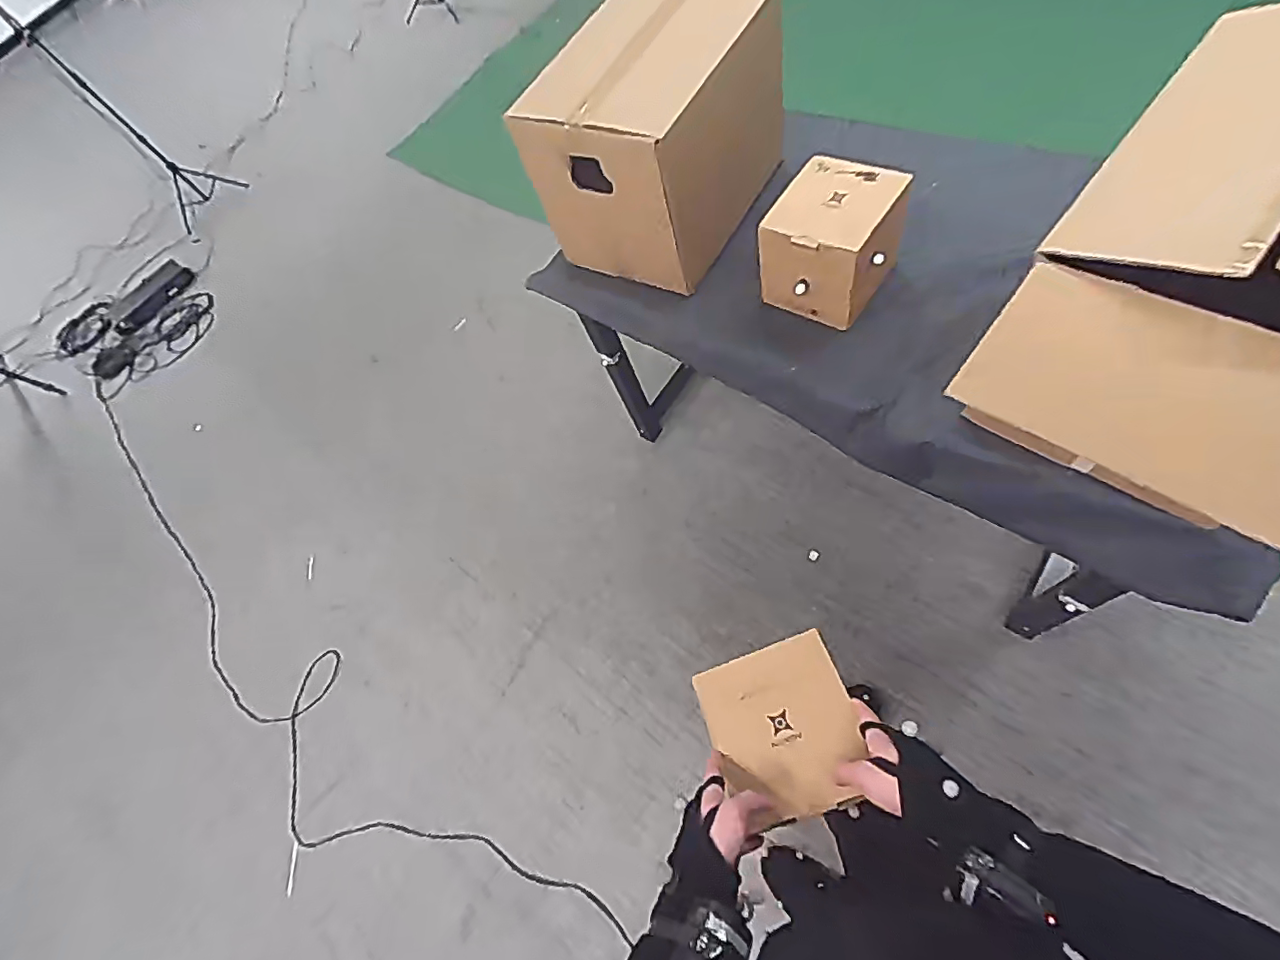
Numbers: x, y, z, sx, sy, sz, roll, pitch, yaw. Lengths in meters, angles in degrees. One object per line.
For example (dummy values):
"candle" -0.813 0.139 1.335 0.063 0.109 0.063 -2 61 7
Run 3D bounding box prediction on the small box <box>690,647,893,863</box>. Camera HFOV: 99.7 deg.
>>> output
"small box" 0.181 0.330 0.655 0.168 0.176 0.179 -24 55 6
